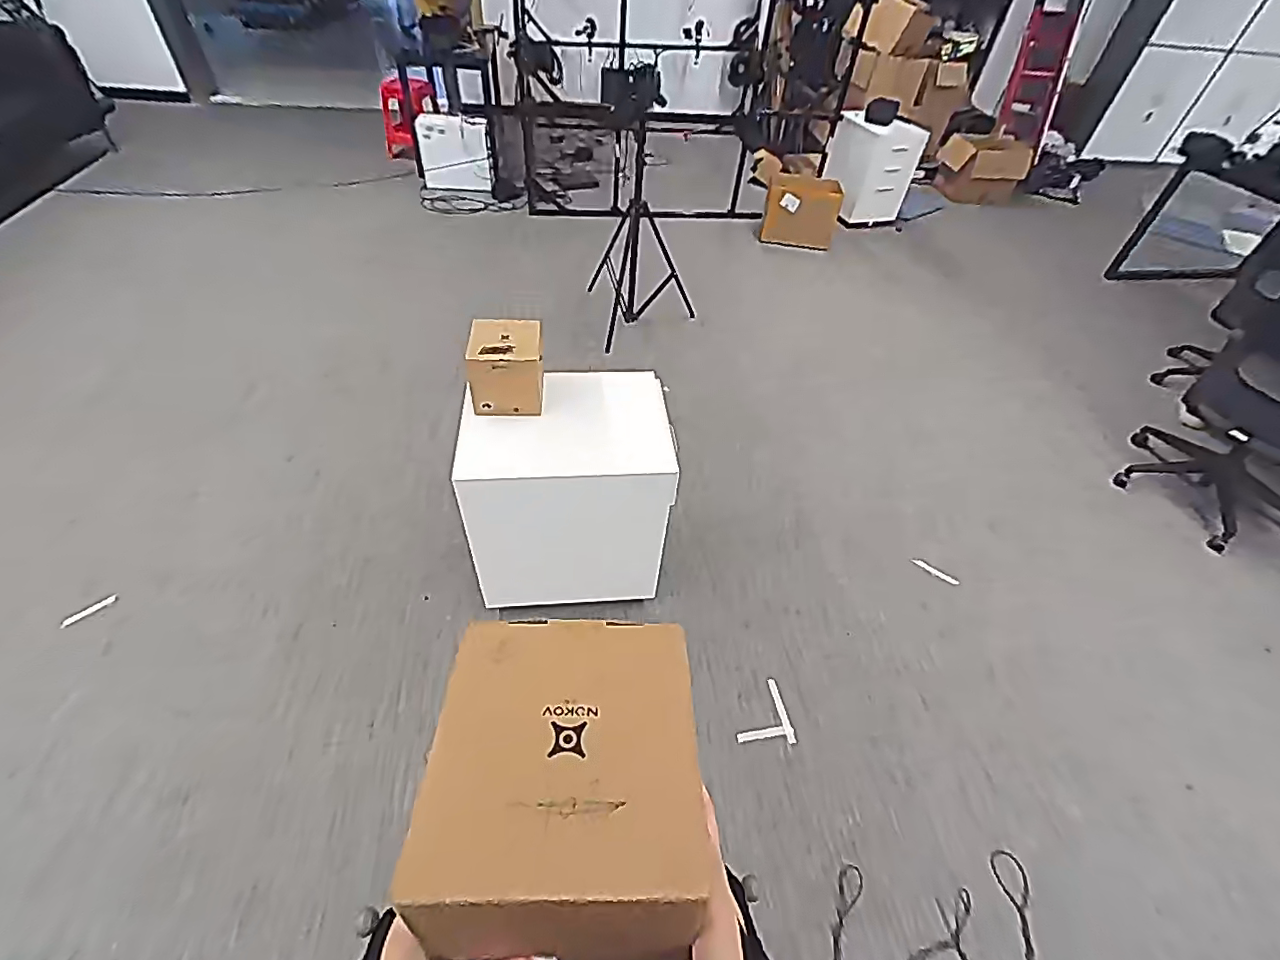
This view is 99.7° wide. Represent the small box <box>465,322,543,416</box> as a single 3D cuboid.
[{"bbox_3d":[-0.331,-0.274,1.349,0.168,0.176,0.179,-1,47,-7],"label":"small box"}]

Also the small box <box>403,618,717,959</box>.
[{"bbox_3d":[-0.048,0.223,0.391,0.168,0.176,0.179,1,38,-4],"label":"small box"}]
